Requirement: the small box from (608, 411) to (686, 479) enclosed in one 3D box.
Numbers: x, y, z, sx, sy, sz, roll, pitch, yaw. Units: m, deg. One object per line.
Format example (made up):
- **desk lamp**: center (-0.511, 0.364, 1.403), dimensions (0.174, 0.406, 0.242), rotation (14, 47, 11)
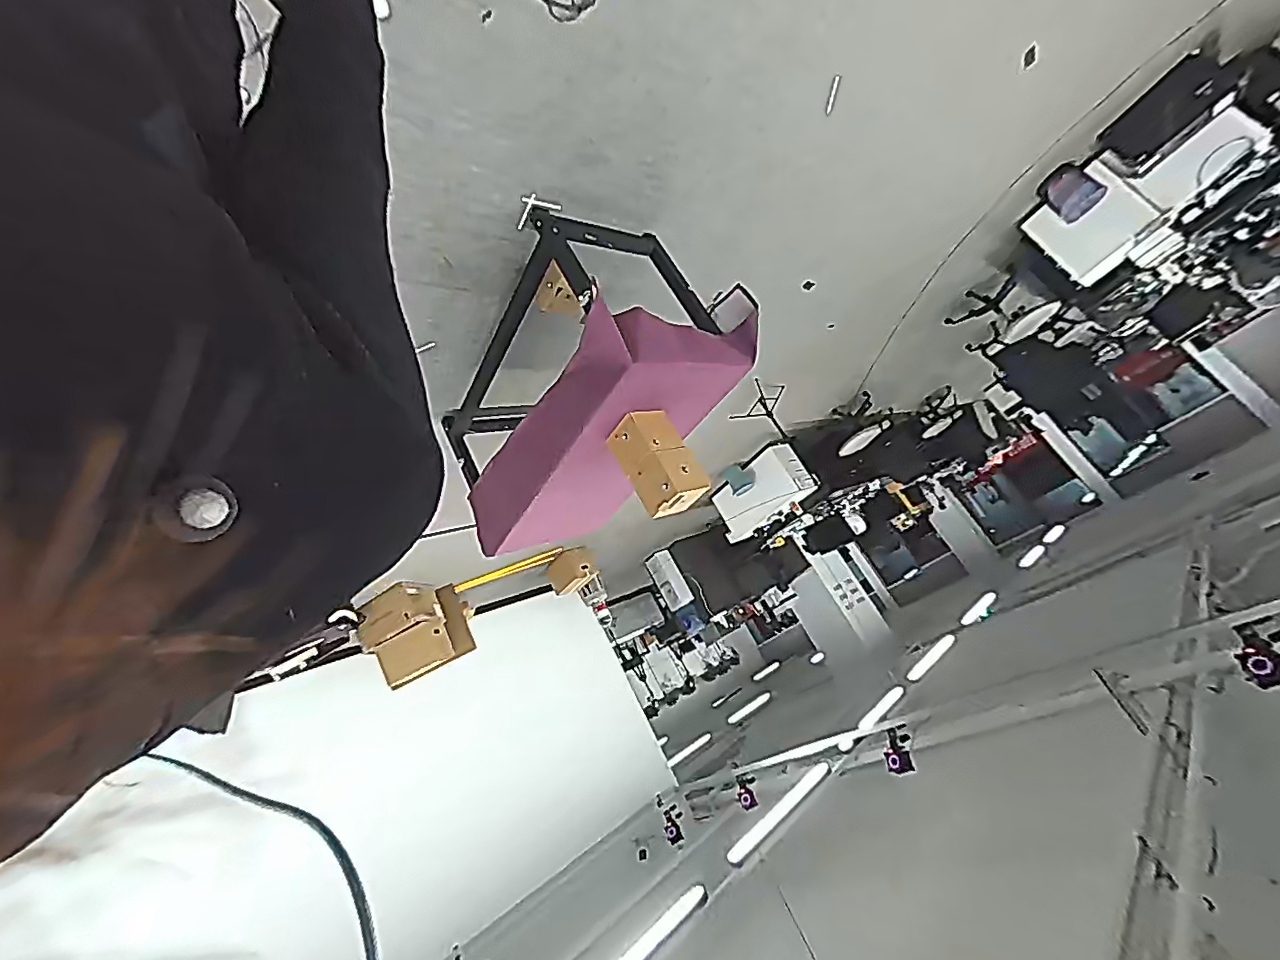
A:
- **small box**: center (0.021, -0.127, 1.891), dimensions (0.179, 0.176, 0.168), rotation (-10, 153, -43)
